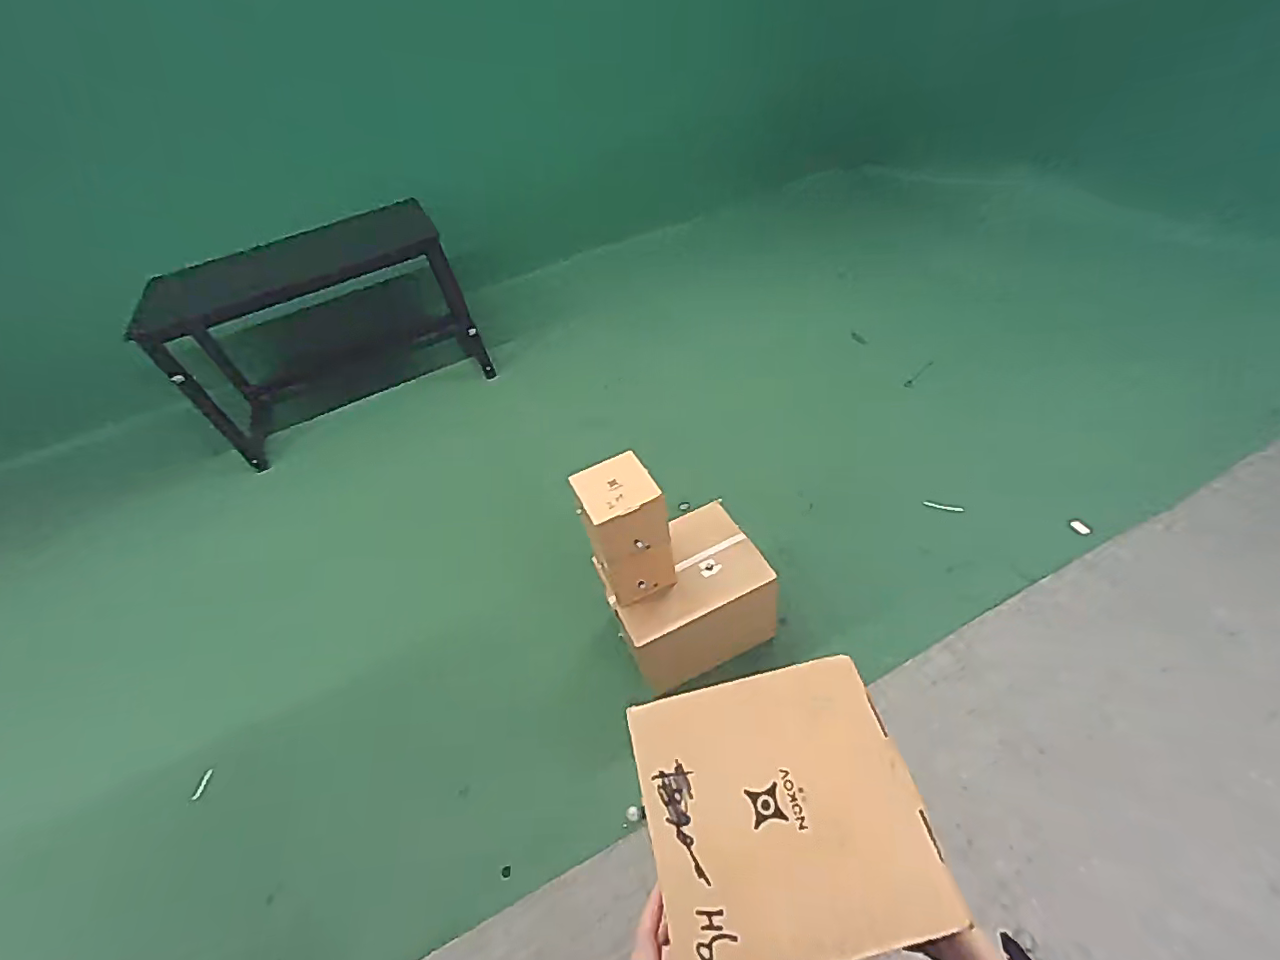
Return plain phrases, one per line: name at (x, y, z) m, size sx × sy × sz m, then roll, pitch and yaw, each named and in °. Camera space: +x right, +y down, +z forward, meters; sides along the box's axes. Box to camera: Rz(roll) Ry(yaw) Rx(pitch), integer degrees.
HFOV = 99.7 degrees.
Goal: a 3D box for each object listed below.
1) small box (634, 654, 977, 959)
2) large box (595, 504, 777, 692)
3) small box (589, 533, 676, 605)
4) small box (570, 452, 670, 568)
small box at (0.097, 0.255, 0.408) m, size 0.179 × 0.176 × 0.168 m, roll -11°, pitch 50°, yaw -3°
large box at (0.133, 0.340, 1.535) m, size 0.408 × 0.320 × 0.320 m, roll -23°, pitch 46°, yaw -11°
small box at (-0.022, 0.184, 1.379) m, size 0.168 × 0.176 × 0.179 m, roll -23°, pitch 46°, yaw -11°
small box at (-0.044, 0.070, 1.262) m, size 0.168 × 0.176 × 0.179 m, roll -24°, pitch 46°, yaw -11°
